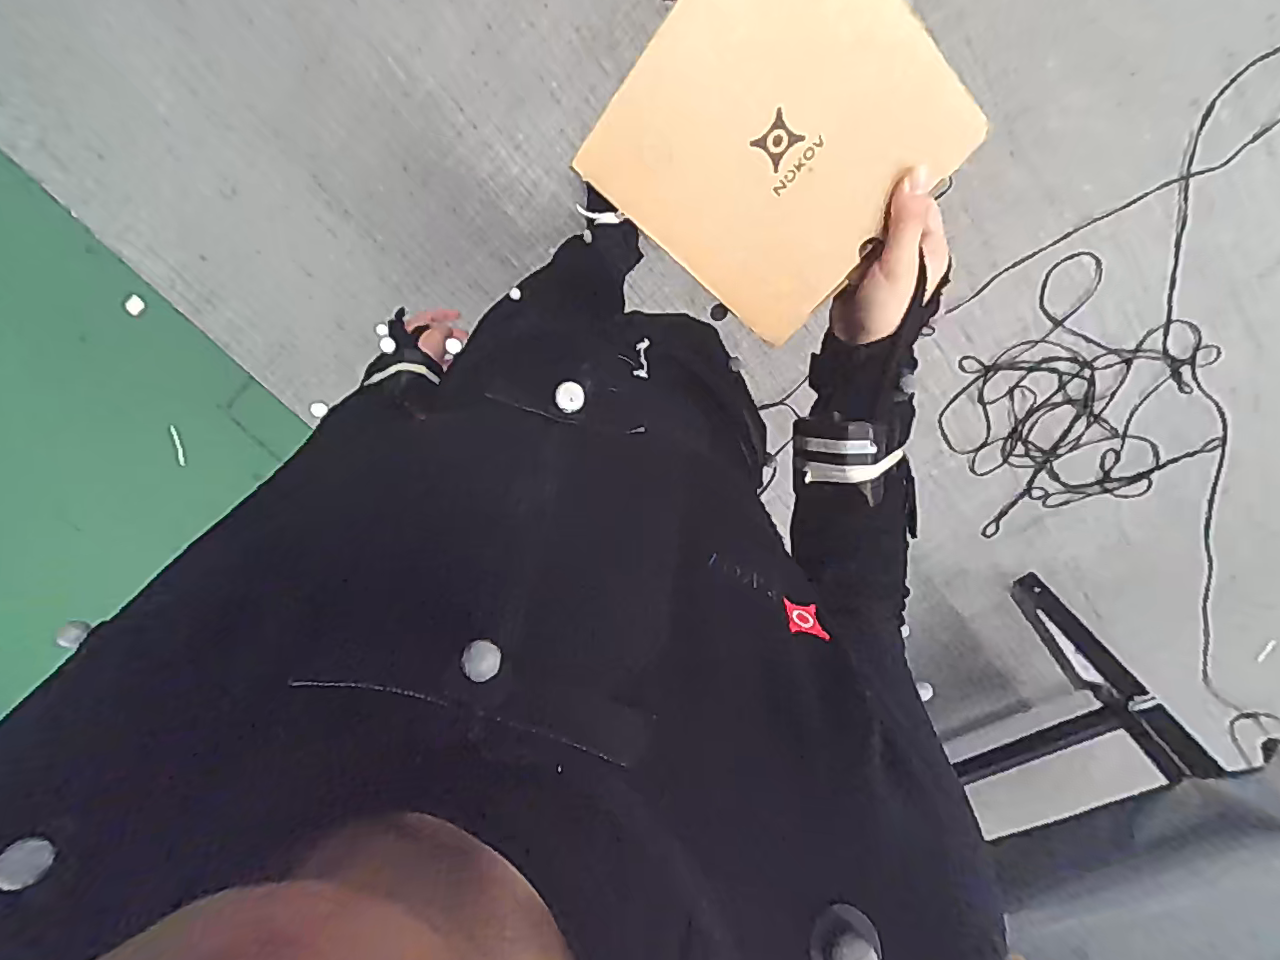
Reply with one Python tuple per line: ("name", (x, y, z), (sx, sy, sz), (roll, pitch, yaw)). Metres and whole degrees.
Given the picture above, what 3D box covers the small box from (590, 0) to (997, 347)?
("small box", (0.081, -0.228, 0.368), (0.179, 0.176, 0.168), (34, 114, -24))
